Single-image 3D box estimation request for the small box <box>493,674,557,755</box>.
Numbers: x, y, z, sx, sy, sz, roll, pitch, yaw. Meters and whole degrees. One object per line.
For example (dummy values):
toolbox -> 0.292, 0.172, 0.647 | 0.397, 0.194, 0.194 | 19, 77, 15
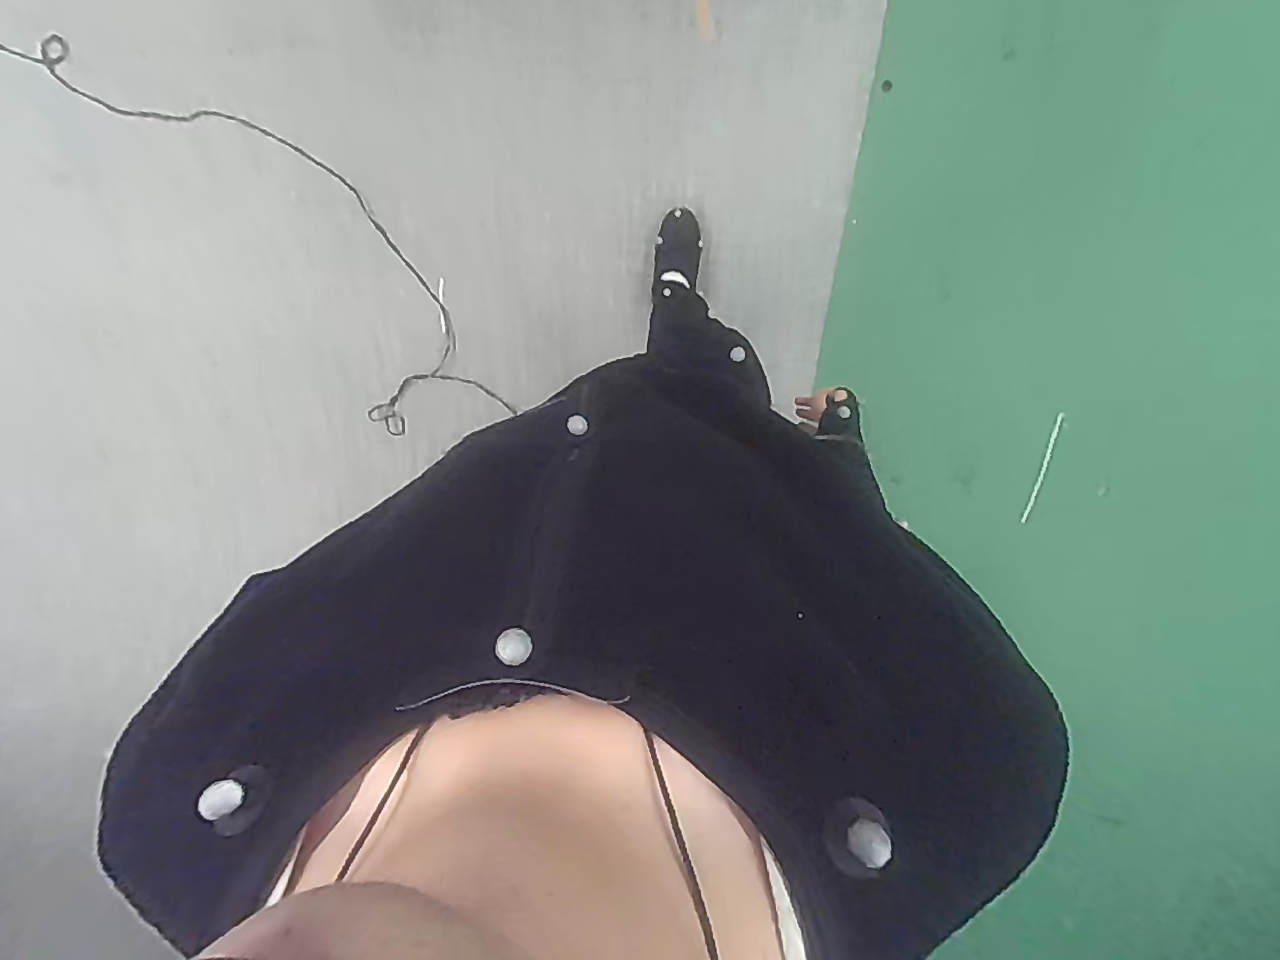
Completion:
small box -> -0.356, 0.733, 1.693 | 0.168, 0.176, 0.179 | 3, 110, 1
